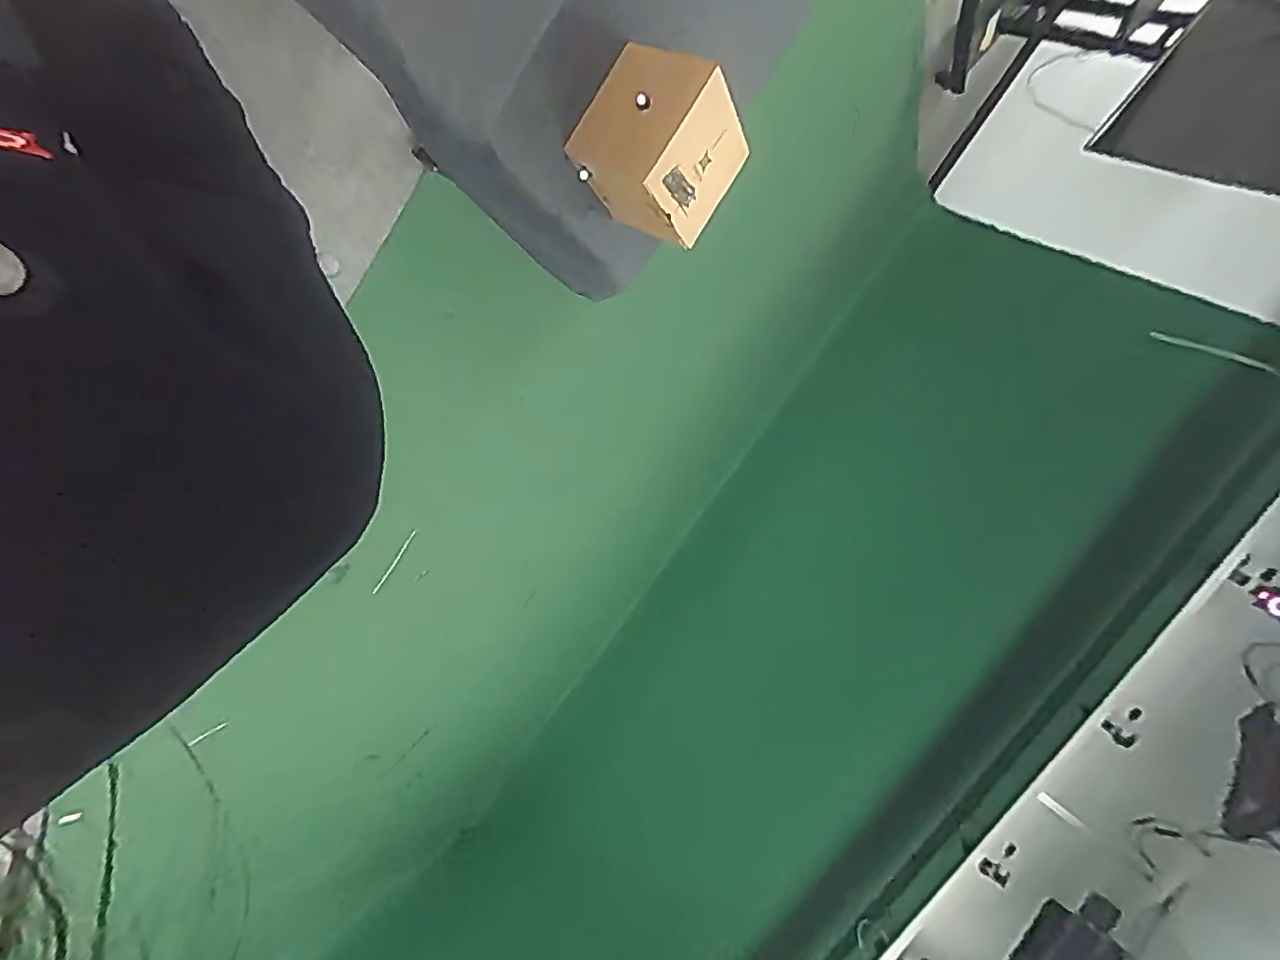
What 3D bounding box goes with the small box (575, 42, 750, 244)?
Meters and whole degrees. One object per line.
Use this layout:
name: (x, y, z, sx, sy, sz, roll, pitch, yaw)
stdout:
small box: (0.029, -0.495, 0.802, 0.179, 0.176, 0.168, -57, 153, 6)
